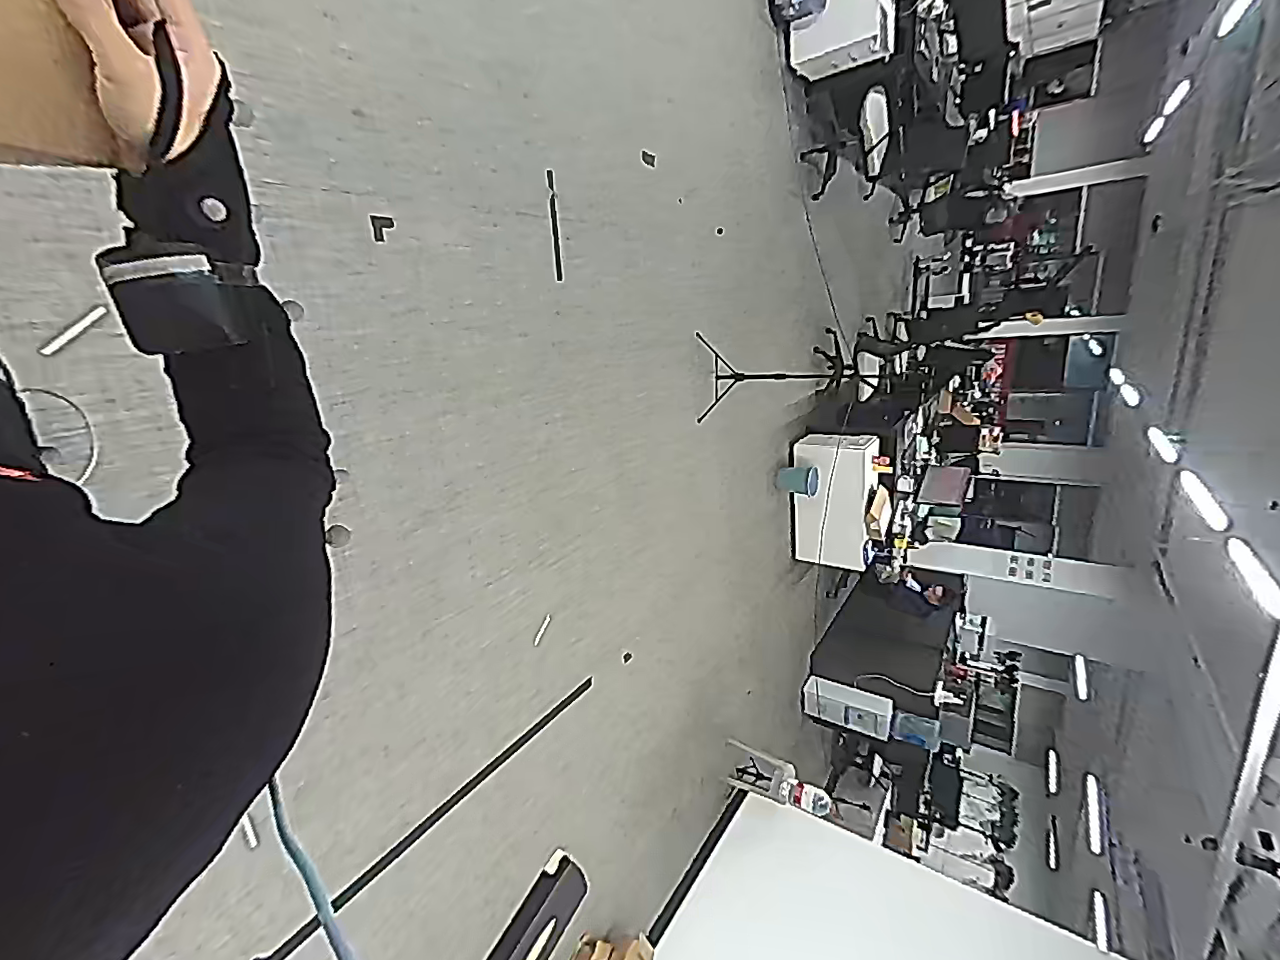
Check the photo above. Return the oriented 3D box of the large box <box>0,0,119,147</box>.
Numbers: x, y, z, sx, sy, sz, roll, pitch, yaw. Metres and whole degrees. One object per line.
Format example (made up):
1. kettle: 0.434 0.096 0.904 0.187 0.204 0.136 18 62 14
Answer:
1. large box: -0.521 -0.349 0.190 0.408 0.320 0.320 -17 123 -54
